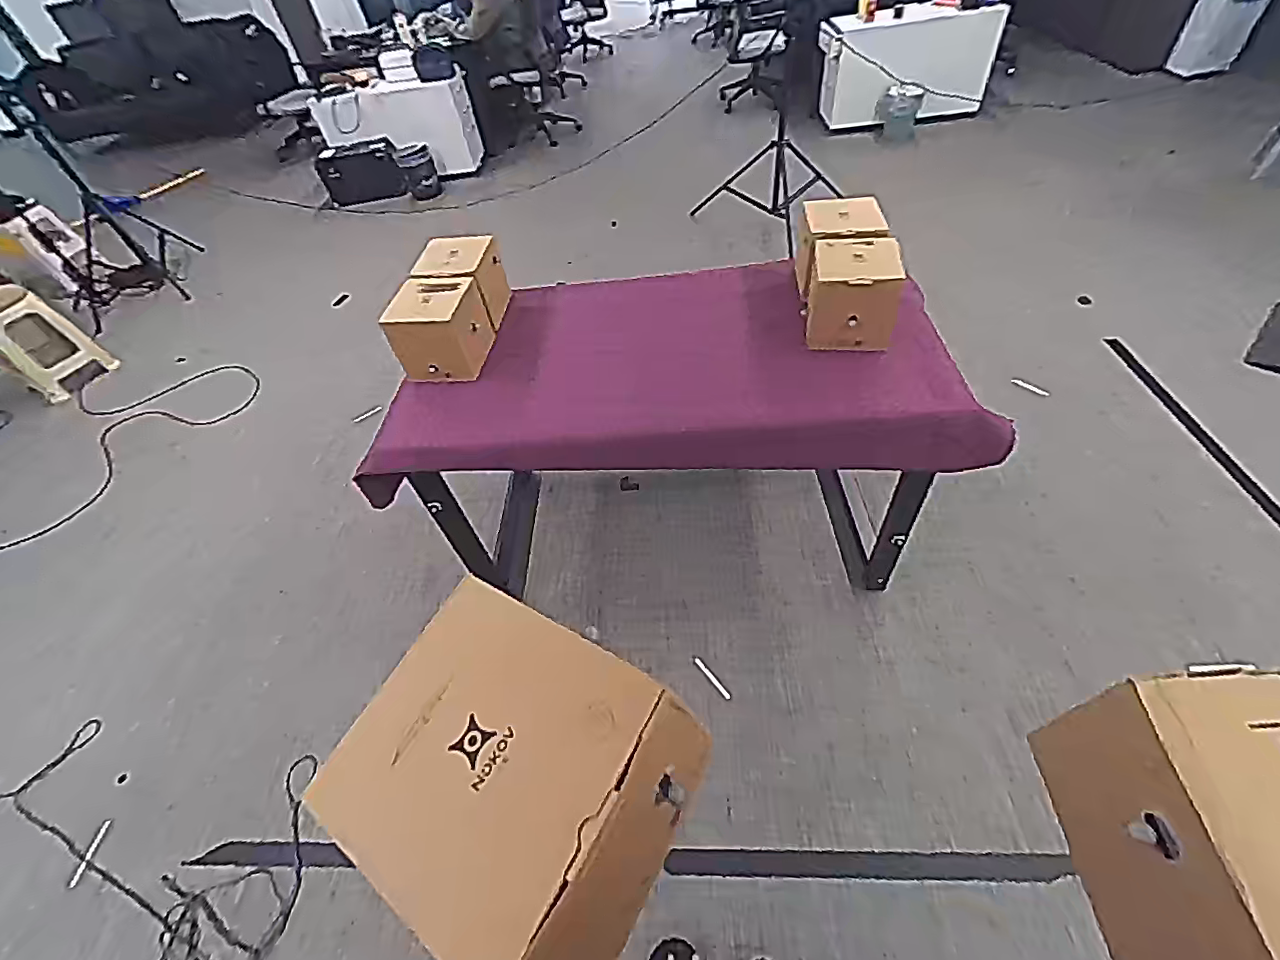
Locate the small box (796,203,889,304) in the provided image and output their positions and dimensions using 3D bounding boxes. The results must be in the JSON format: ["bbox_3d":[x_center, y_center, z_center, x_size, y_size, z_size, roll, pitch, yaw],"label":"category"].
[{"bbox_3d":[0.472,-0.539,1.290,0.168,0.176,0.179,0,49,7],"label":"small box"}]

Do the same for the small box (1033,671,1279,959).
[{"bbox_3d":[0.378,0.224,0.319,0.168,0.176,0.179,-7,54,10],"label":"small box"}]

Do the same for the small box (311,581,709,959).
[{"bbox_3d":[-0.070,0.203,0.381,0.179,0.176,0.168,18,62,30],"label":"small box"}]

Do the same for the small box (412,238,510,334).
[{"bbox_3d":[-0.442,-0.492,1.374,0.168,0.176,0.179,0,51,8],"label":"small box"}]
